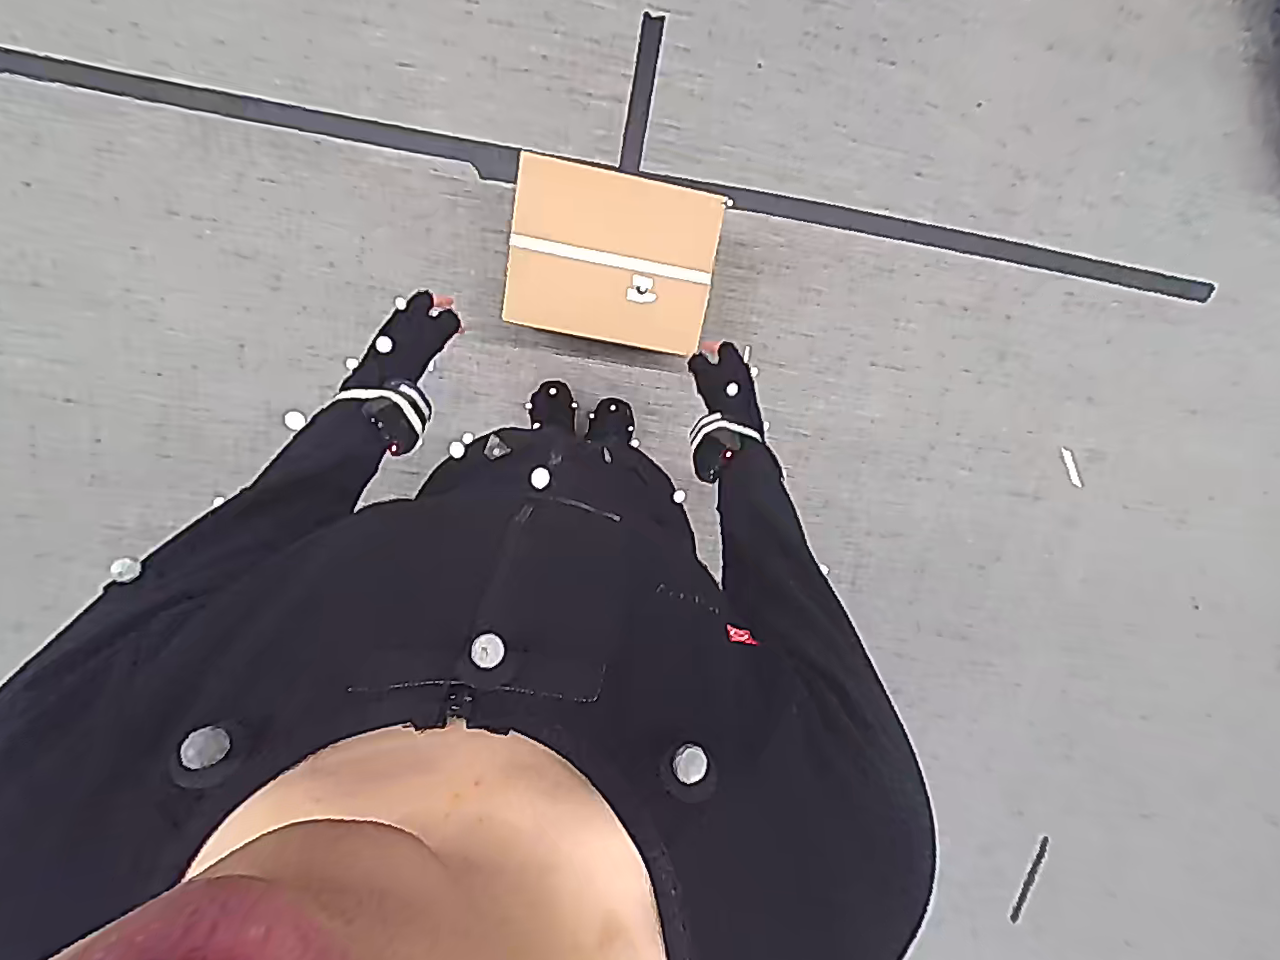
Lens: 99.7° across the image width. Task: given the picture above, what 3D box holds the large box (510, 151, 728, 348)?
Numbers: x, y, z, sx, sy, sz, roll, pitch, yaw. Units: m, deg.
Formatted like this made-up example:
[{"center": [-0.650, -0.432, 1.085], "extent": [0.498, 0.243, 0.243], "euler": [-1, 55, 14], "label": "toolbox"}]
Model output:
[{"center": [-0.059, -0.486, 1.218], "extent": [0.408, 0.320, 0.320], "euler": [9, 105, -7], "label": "large box"}]
